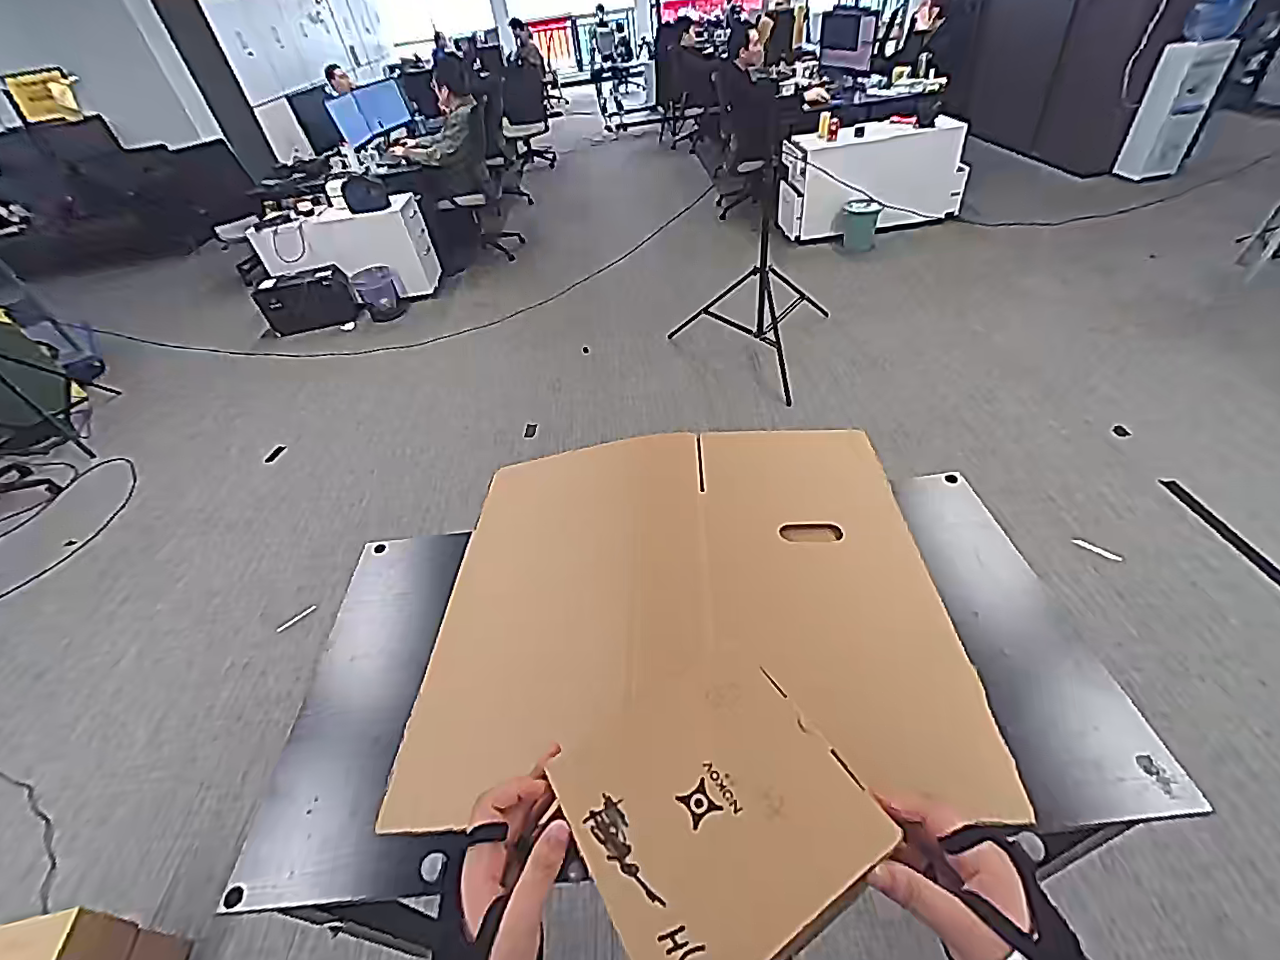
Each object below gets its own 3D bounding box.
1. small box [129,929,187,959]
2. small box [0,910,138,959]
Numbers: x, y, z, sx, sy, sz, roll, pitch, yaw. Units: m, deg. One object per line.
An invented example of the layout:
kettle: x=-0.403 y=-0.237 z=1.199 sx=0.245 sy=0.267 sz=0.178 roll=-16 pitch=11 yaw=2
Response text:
small box: x=-1.117 y=1.088 z=1.141 sx=0.168 sy=0.176 sz=0.179 roll=-10 pitch=43 yaw=-1
small box: x=-1.136 y=0.964 z=1.036 sx=0.168 sy=0.176 sz=0.179 roll=-11 pitch=42 yaw=-4
